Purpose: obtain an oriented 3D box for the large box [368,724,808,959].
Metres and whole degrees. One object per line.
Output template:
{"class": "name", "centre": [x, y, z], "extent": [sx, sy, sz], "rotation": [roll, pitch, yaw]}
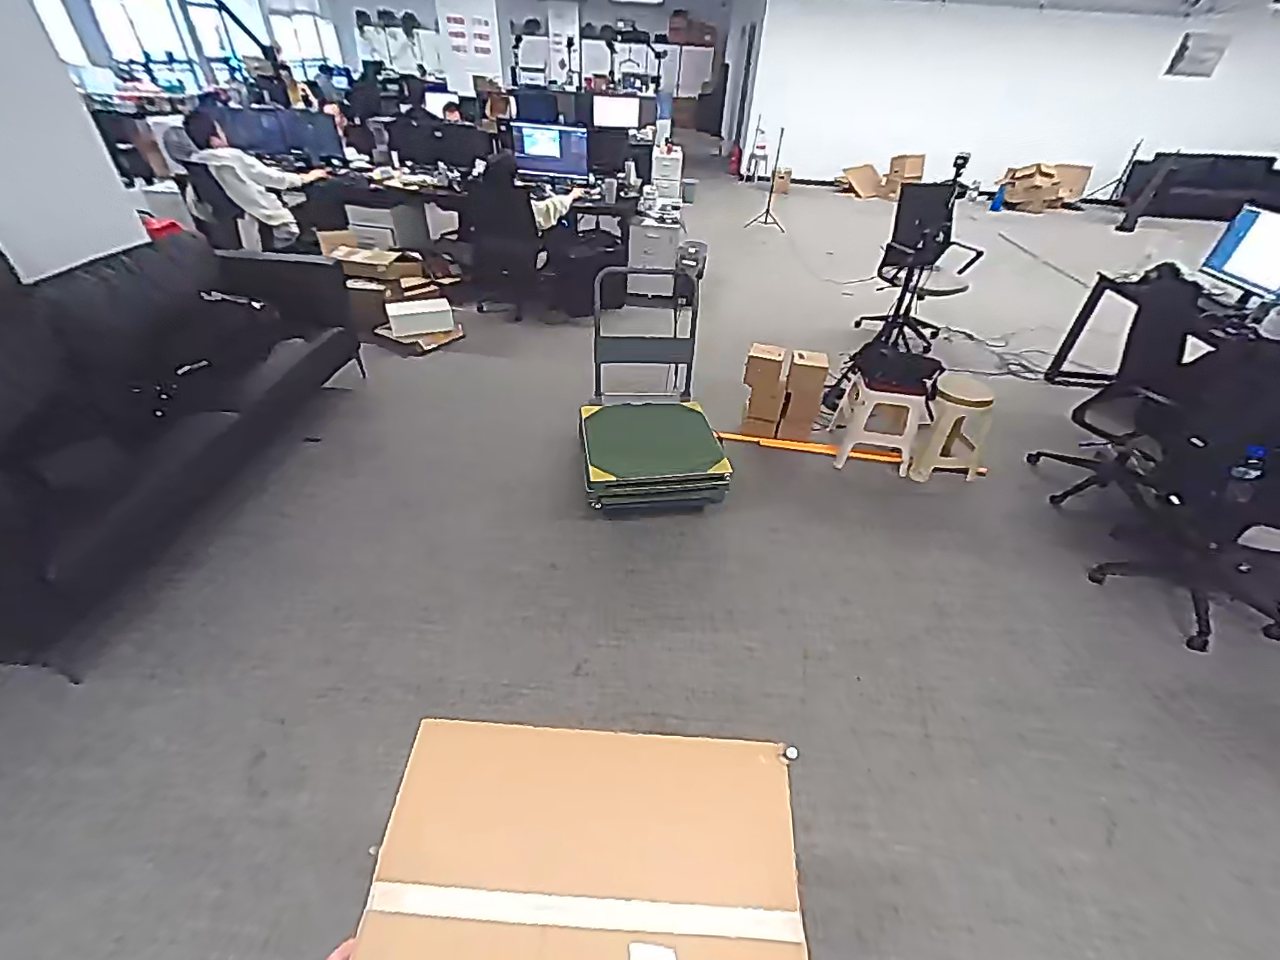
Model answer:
{"class": "large box", "centre": [-0.049, 0.496, 0.627], "extent": [0.408, 0.320, 0.320], "rotation": [3, 52, 1]}
